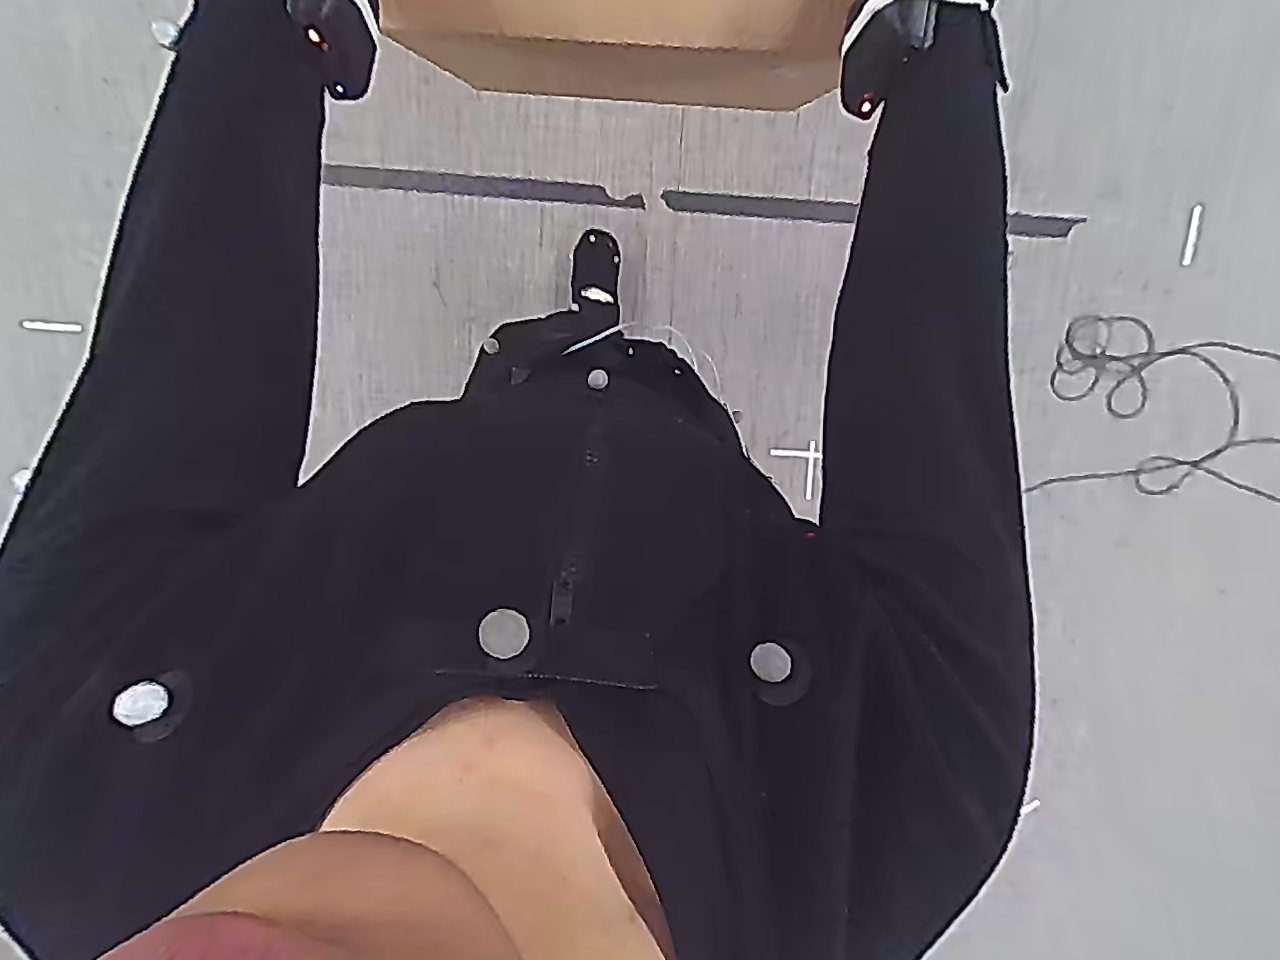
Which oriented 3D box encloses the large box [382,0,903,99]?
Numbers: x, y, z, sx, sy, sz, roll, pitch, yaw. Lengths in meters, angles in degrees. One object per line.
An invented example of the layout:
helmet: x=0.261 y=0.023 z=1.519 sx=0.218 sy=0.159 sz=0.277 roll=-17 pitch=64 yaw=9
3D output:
large box: x=0.003 y=-0.551 z=0.477 sx=0.408 sy=0.320 sz=0.320 roll=2 pitch=119 yaw=-2
